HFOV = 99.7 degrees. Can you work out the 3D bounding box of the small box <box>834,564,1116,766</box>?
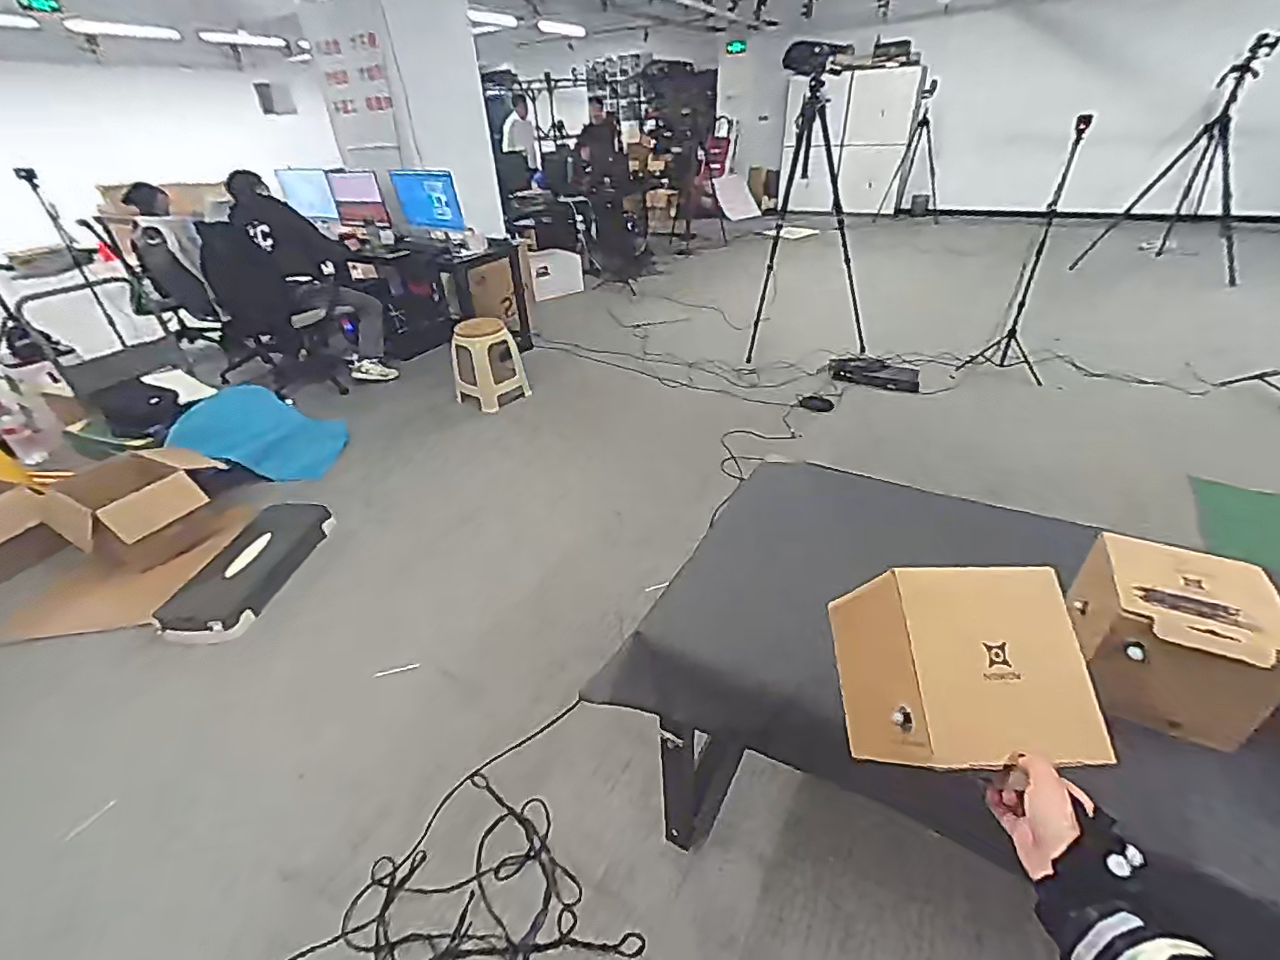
[{"bbox_3d":[0.320,0.195,0.564,0.168,0.176,0.179,1,66,-4],"label":"small box"}]
